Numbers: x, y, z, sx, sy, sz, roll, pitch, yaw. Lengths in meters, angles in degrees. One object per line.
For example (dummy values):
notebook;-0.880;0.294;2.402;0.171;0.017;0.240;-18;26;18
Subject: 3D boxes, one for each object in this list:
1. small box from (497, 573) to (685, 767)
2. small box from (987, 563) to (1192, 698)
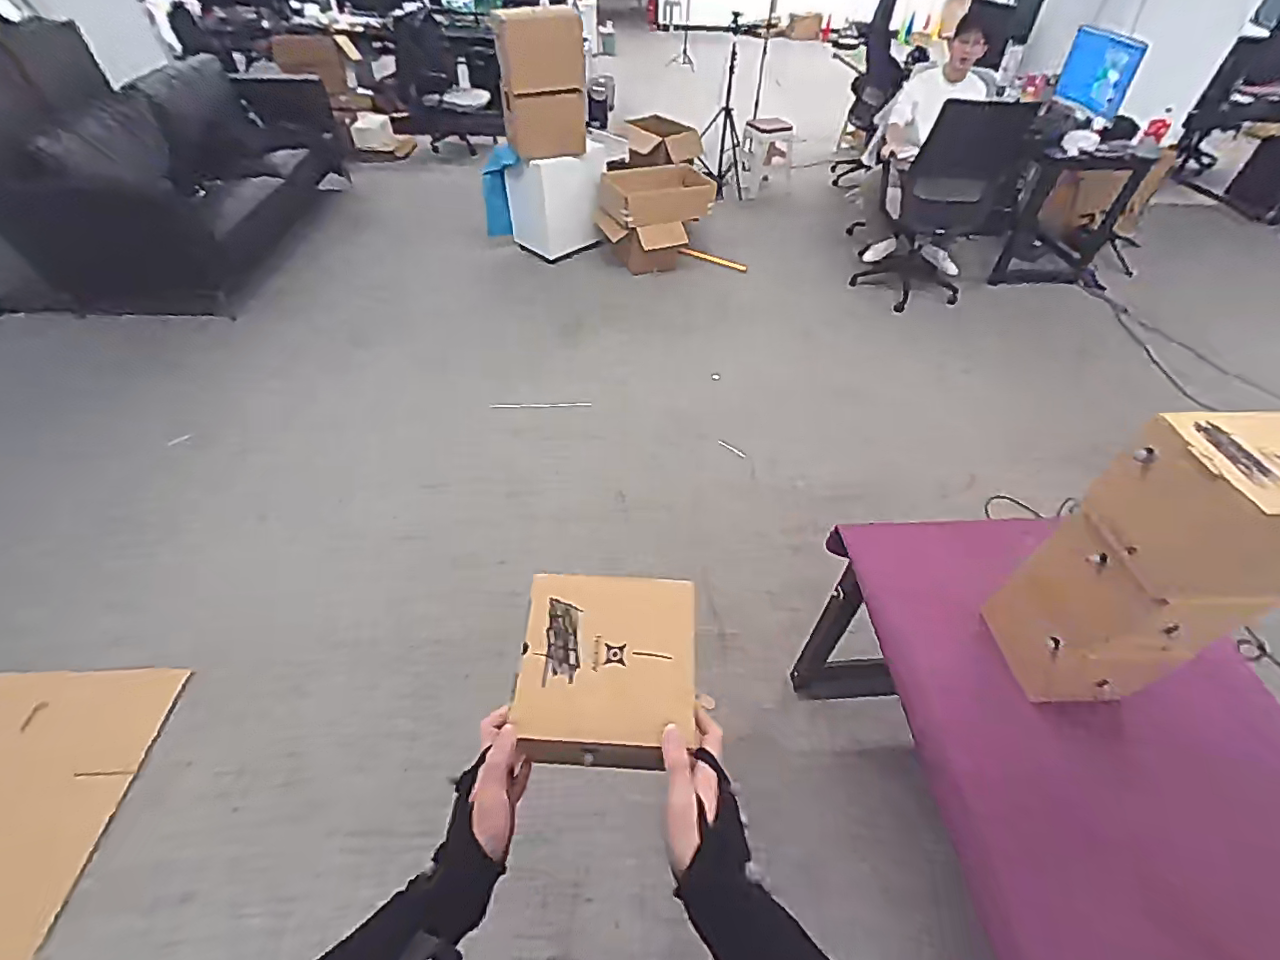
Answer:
small box;-0.042;0.218;0.609;0.179;0.176;0.168;3;55;2
small box;0.736;0.257;0.913;0.168;0.176;0.179;-1;48;-2
